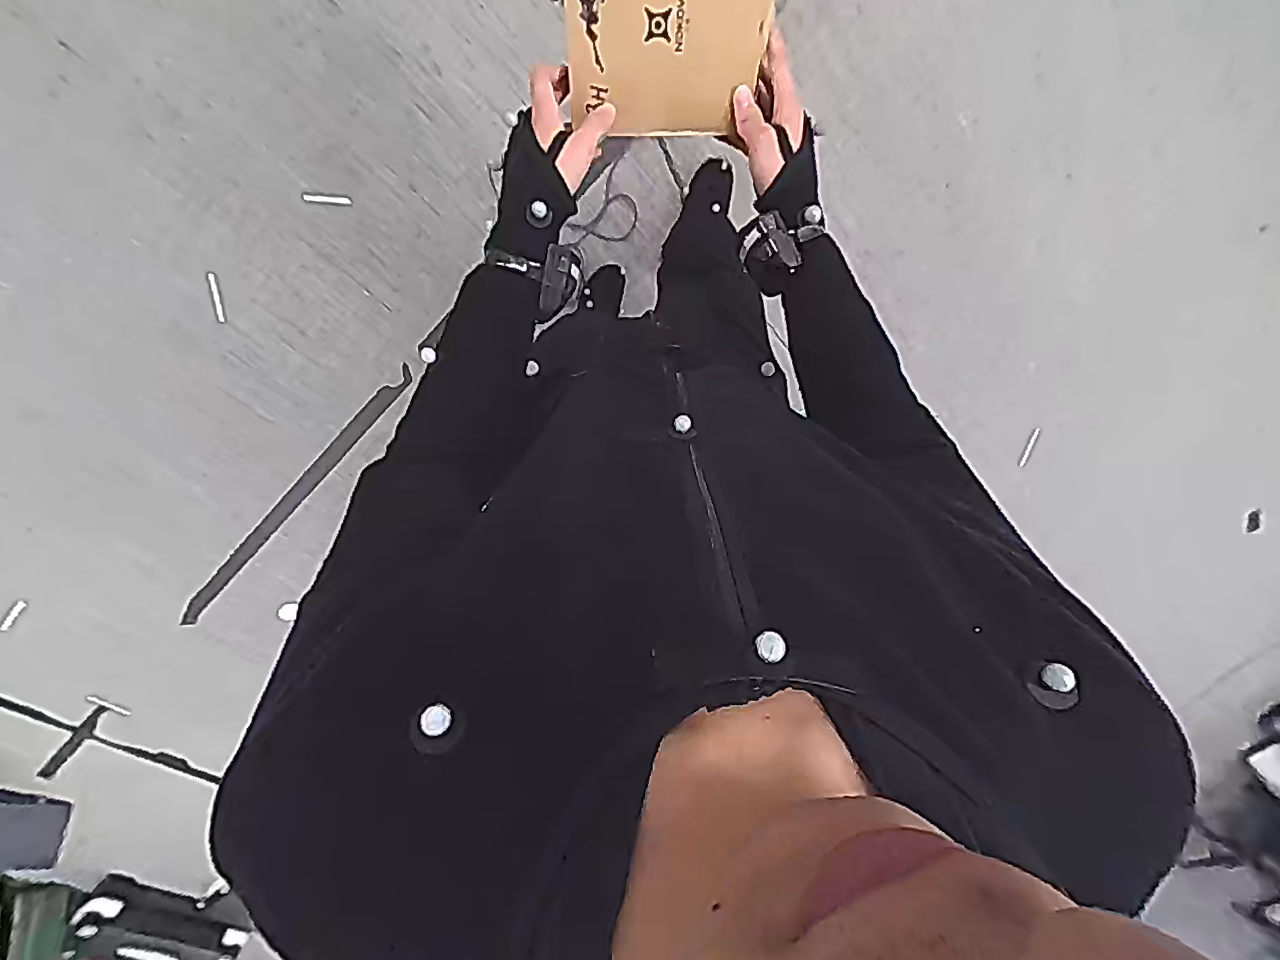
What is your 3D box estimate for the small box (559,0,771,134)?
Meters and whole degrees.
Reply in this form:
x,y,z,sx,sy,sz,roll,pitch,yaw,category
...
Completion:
x,y,z,sx,sy,sz,roll,pitch,yaw,category
0.014,-0.445,0.502,0.179,0.176,0.168,-4,141,-4,small box
